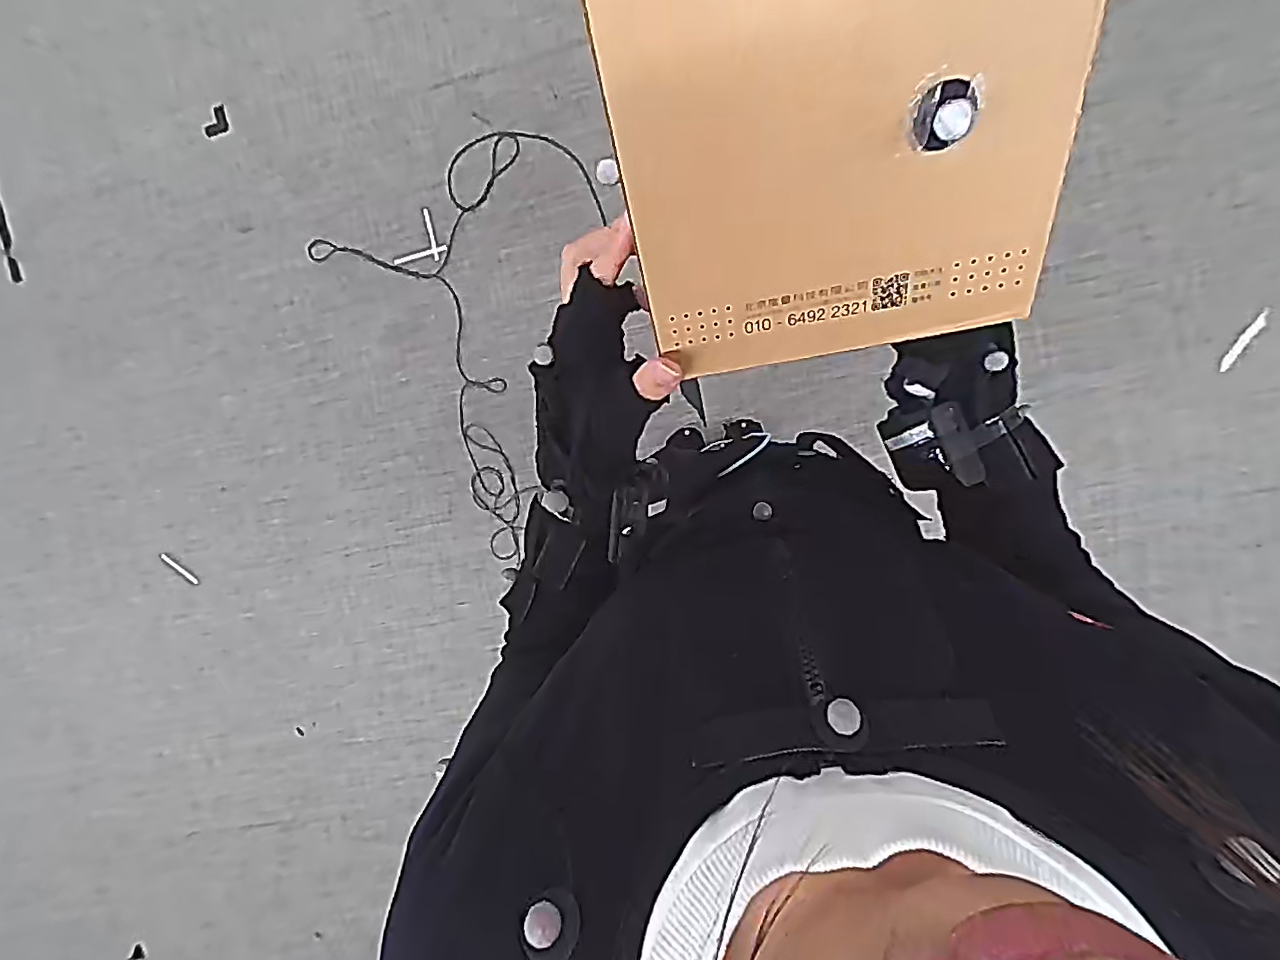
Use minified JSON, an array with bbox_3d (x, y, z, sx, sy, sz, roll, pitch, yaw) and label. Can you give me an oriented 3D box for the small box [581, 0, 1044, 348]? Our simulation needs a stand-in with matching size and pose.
[{"bbox_3d":[0.080,-0.181,0.285,0.168,0.179,0.176,-7,129,10],"label":"small box"}]
